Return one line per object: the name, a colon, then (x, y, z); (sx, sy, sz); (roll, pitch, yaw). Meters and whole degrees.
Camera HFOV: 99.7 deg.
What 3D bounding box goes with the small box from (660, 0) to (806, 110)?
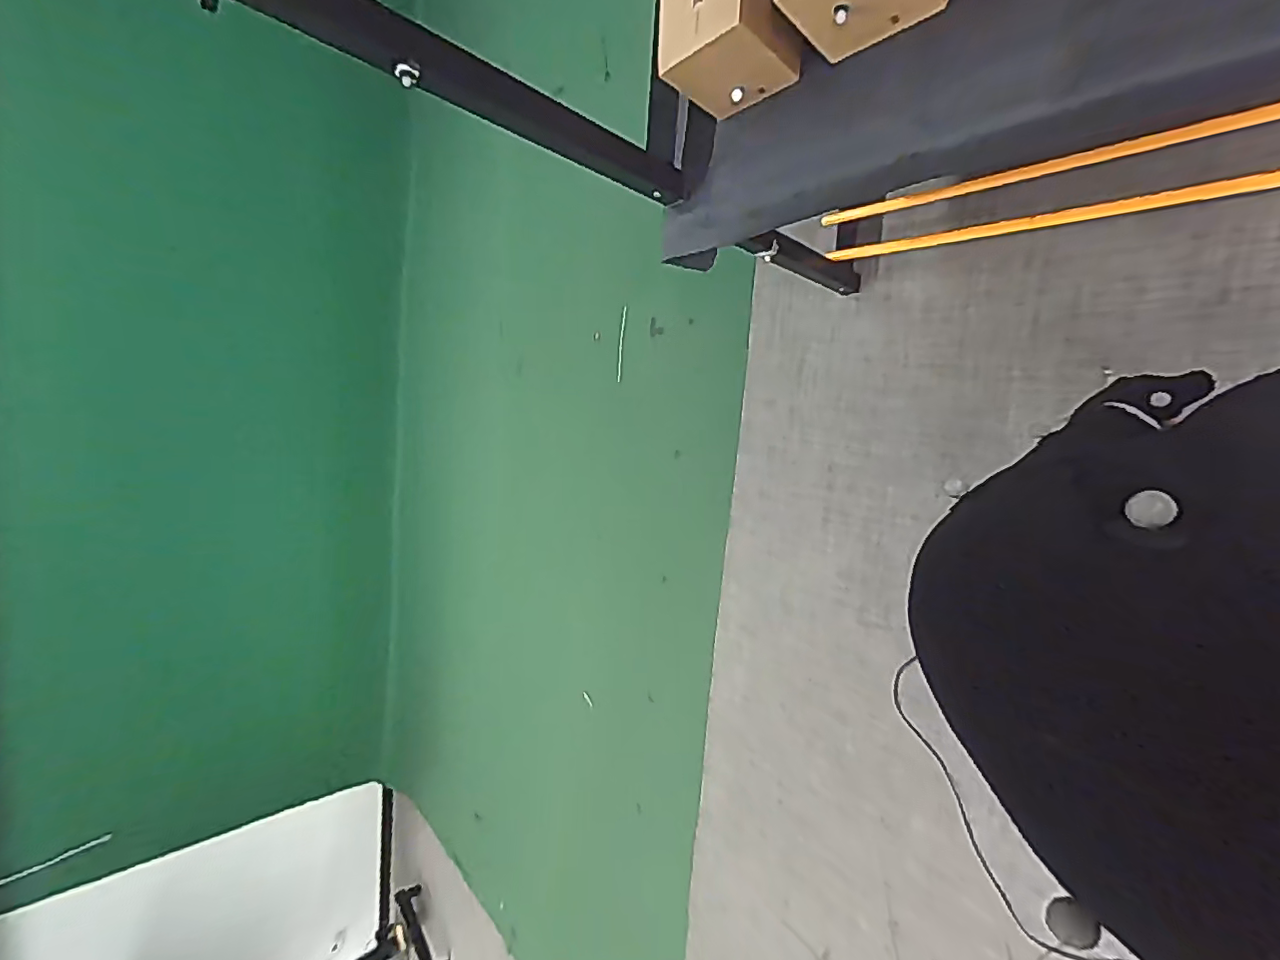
small box: (0.152, -0.750, 0.871); (0.168, 0.176, 0.179); (7, 97, 47)
